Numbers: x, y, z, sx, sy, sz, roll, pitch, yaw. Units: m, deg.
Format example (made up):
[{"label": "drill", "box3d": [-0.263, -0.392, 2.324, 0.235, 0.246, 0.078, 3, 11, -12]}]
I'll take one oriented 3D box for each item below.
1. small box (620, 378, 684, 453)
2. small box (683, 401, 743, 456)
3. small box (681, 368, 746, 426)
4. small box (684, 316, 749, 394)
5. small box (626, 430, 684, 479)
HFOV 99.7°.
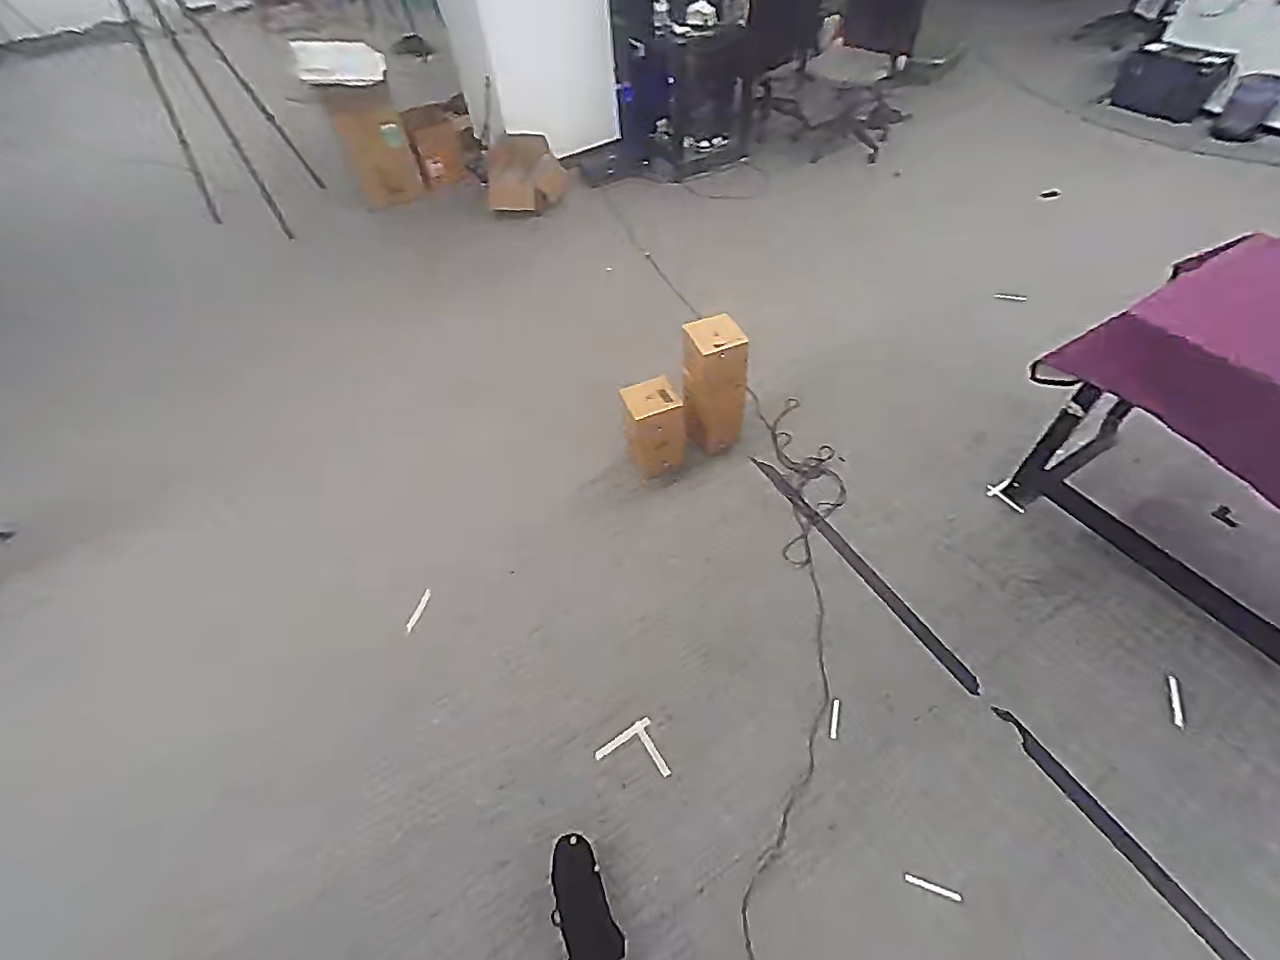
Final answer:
[{"label": "small box", "box3d": [0.043, -0.225, 1.902, 0.179, 0.176, 0.168, -19, 53, -9]}, {"label": "small box", "box3d": [0.278, -0.224, 2.092, 0.168, 0.176, 0.179, -26, 54, -15]}, {"label": "small box", "box3d": [0.267, -0.324, 1.965, 0.179, 0.176, 0.168, -25, 54, -13]}, {"label": "small box", "box3d": [0.254, -0.423, 1.834, 0.168, 0.176, 0.179, -19, 52, -9]}, {"label": "small box", "box3d": [0.054, -0.137, 2.040, 0.168, 0.176, 0.179, -23, 54, -11]}]
